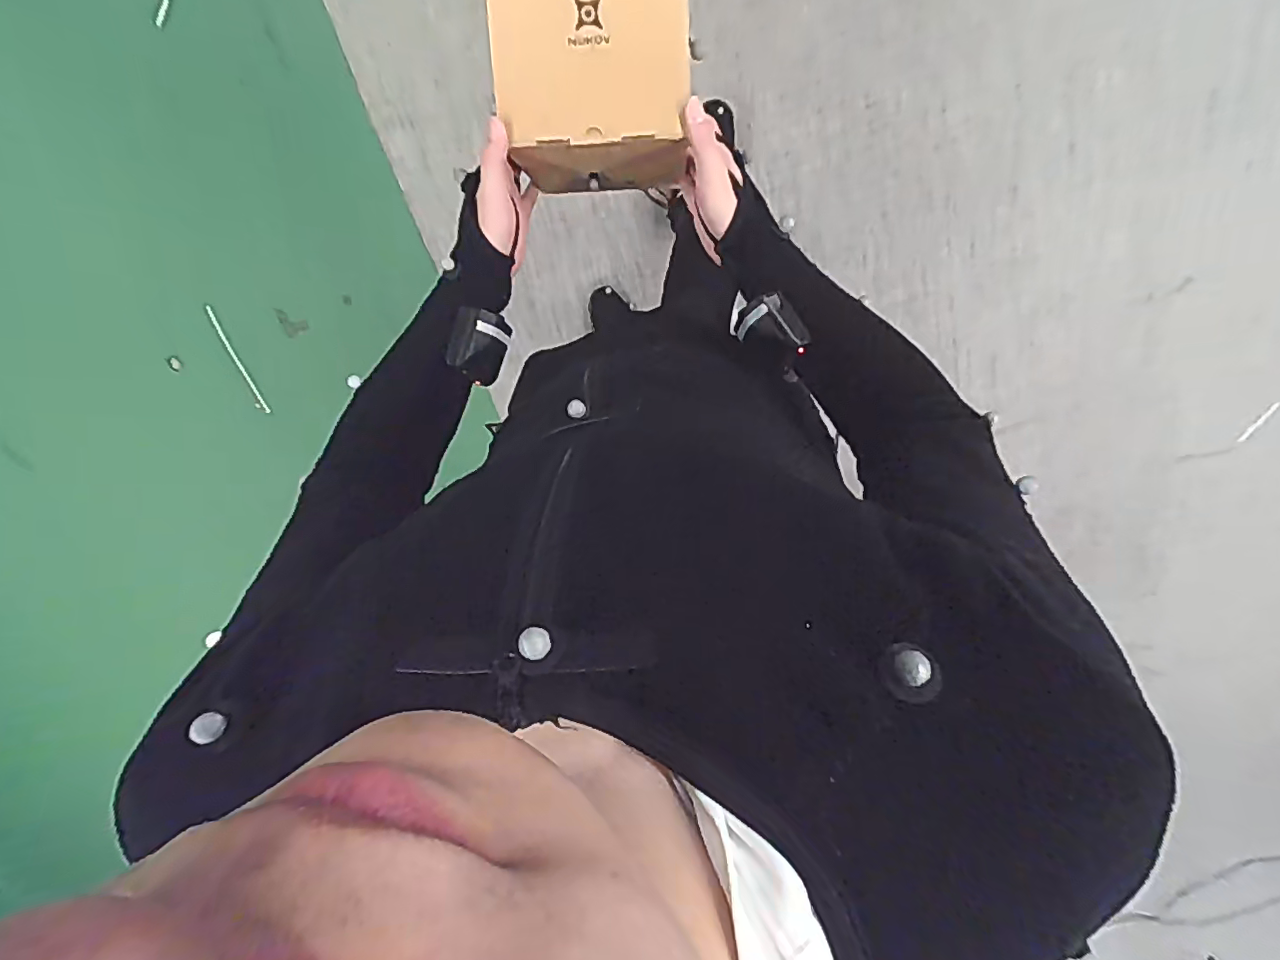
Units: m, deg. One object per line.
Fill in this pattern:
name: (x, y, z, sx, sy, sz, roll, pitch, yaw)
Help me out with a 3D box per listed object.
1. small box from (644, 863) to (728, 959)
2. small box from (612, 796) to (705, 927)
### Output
small box: (0.111, 1.069, 1.303, 0.168, 0.176, 0.179, -15, 113, 6)
small box: (0.042, 0.840, 1.197, 0.168, 0.176, 0.179, -14, 115, 5)
